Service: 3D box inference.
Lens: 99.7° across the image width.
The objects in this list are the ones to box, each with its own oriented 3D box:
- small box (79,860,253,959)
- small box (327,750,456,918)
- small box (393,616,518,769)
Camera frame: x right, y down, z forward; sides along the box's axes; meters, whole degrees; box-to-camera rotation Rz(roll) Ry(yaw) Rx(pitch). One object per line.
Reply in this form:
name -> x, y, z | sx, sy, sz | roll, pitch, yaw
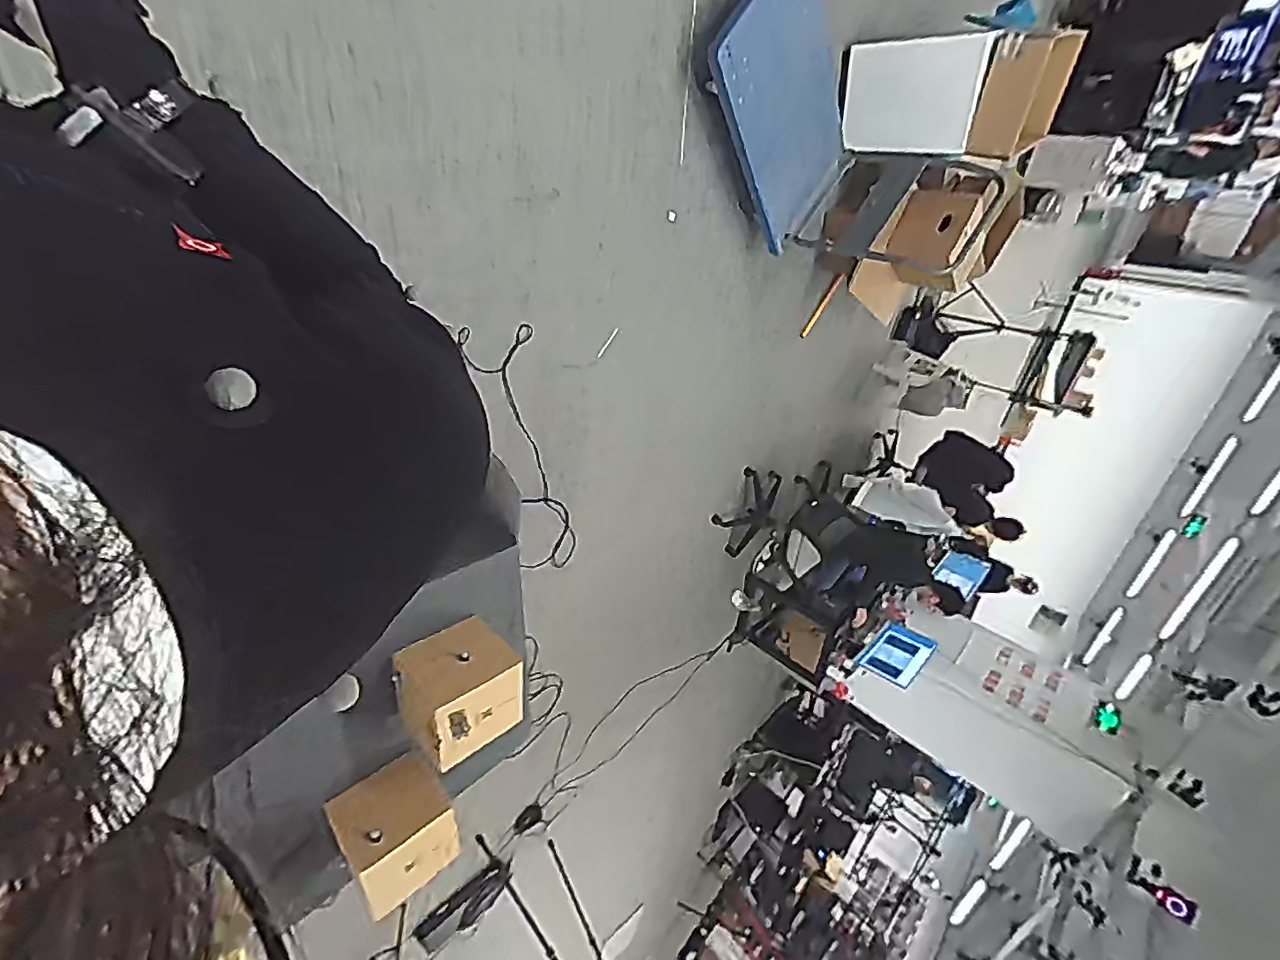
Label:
small box -> -0.714, 0.742, 0.828 | 0.168, 0.176, 0.179 | -22, 127, -41
small box -> -0.487, 0.680, 1.057 | 0.179, 0.176, 0.168 | -24, 129, -41
small box -> -0.354, 0.396, 1.036 | 0.179, 0.176, 0.168 | -21, 129, -43
